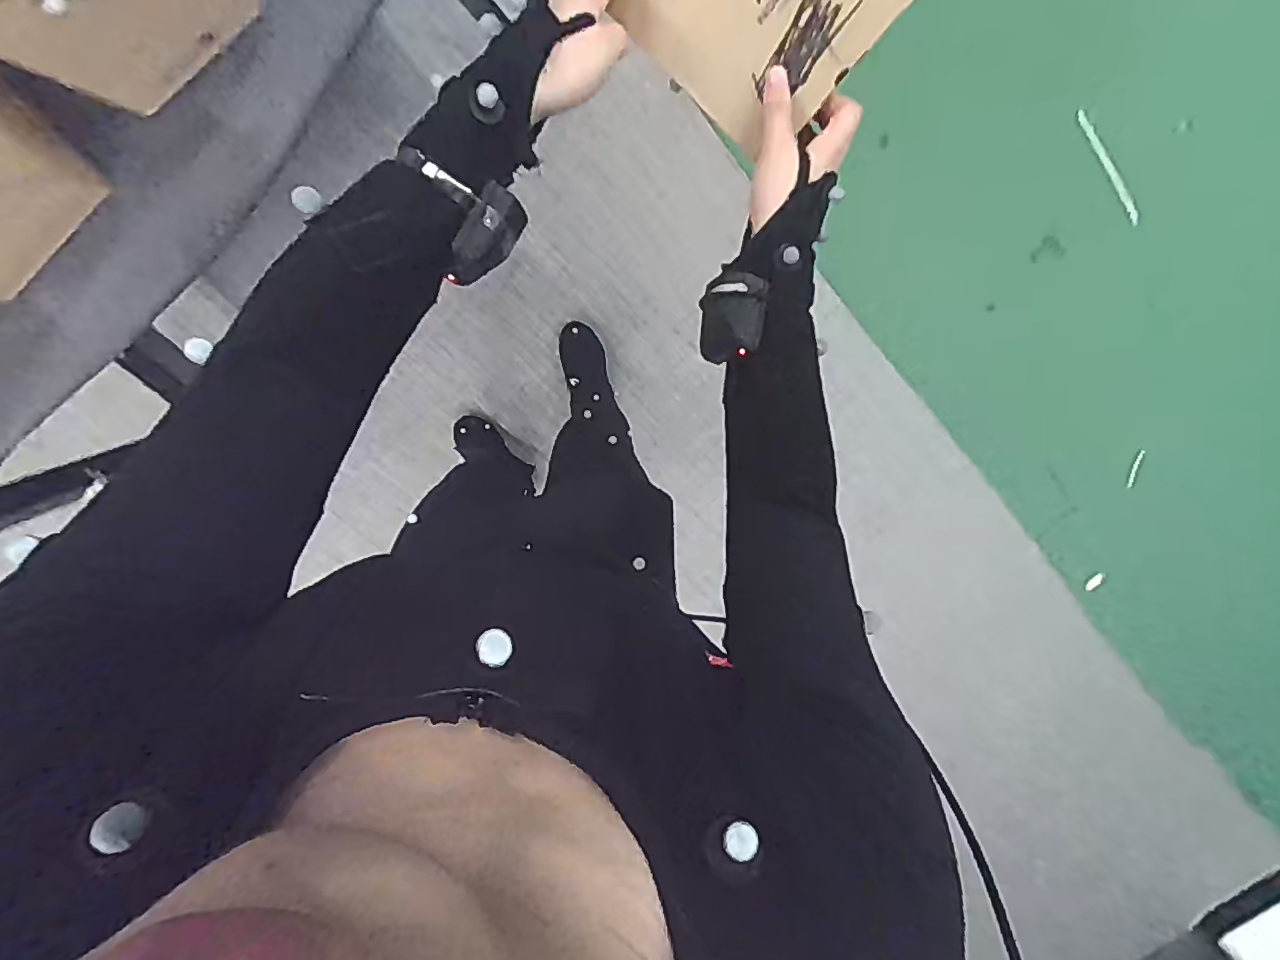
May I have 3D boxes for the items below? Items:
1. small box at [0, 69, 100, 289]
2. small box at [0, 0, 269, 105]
[{"bbox_3d":[-0.641,-0.284,0.464,0.179,0.176,0.168,-37,106,9],"label":"small box"},{"bbox_3d":[-0.453,-0.447,0.421,0.168,0.176,0.179,-33,106,8],"label":"small box"}]
